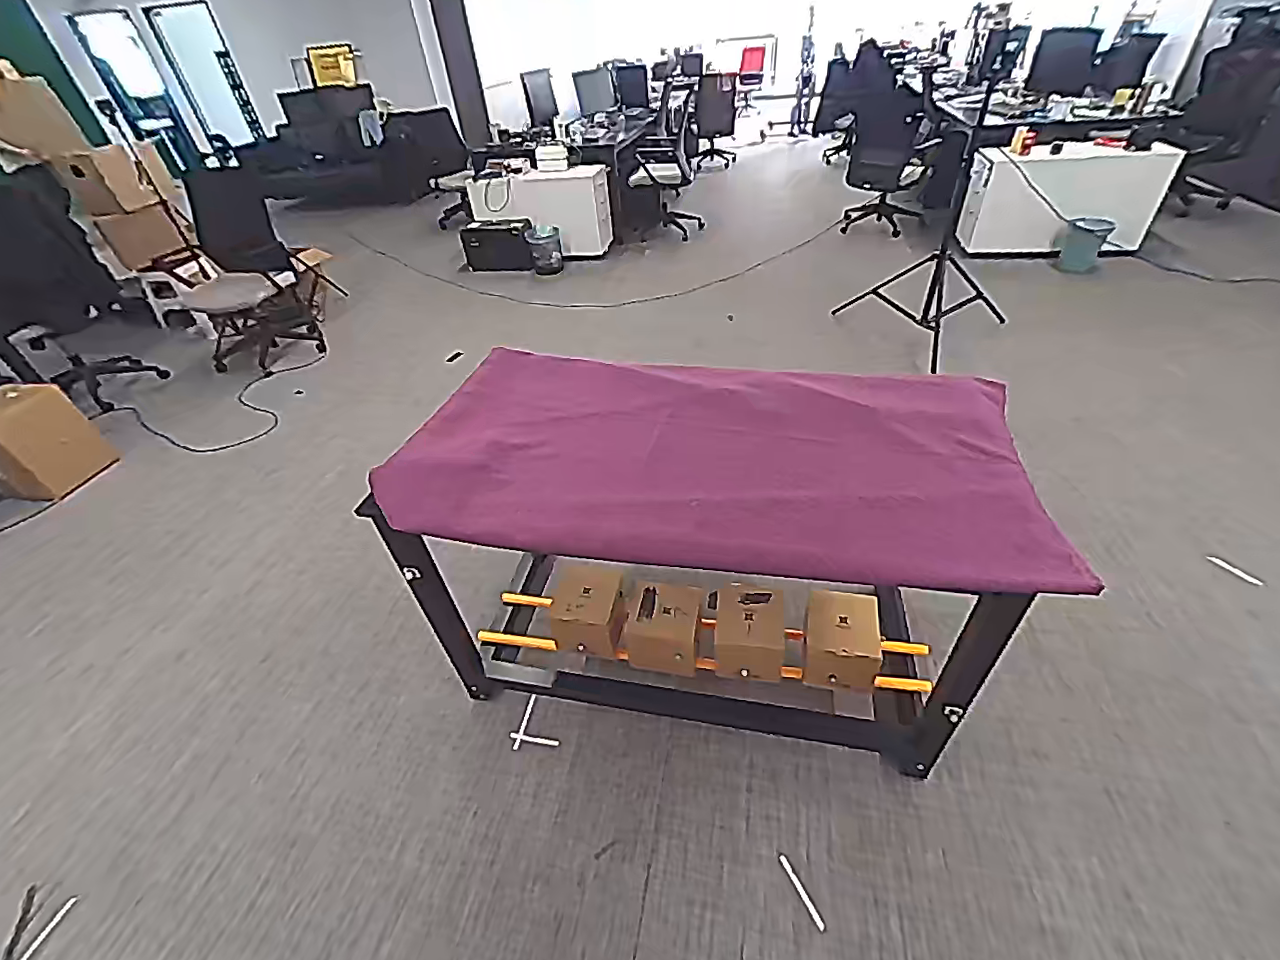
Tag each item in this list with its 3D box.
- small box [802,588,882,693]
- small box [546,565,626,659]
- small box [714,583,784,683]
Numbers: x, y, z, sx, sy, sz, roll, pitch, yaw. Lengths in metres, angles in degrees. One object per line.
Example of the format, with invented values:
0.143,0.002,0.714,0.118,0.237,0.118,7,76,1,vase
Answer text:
0.495,0.398,1.345,0.168,0.176,0.179,4,43,14,small box
-0.139,0.359,1.474,0.168,0.176,0.179,4,43,12,small box
0.278,0.391,1.387,0.168,0.176,0.179,2,44,11,small box
